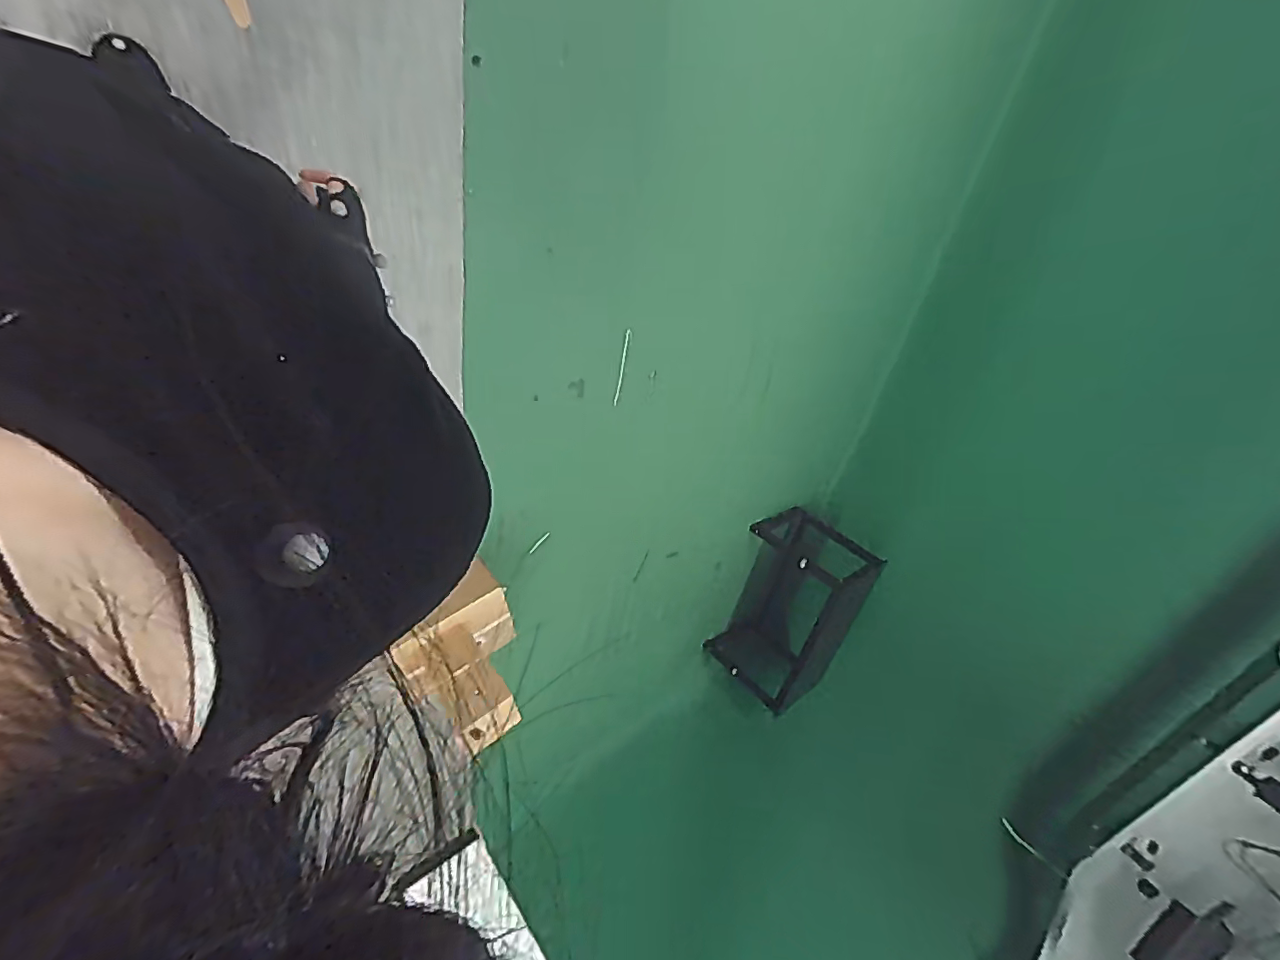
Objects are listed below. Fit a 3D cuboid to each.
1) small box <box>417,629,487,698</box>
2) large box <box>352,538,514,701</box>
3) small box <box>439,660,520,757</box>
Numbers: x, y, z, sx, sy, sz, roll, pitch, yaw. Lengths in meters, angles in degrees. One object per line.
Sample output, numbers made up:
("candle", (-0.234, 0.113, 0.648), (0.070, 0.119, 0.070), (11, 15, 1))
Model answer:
("small box", (-0.599, 0.612, 1.752), (0.168, 0.176, 0.179), (-29, 138, -29))
("large box", (-0.725, 0.483, 1.923), (0.408, 0.320, 0.320), (-31, 140, -30))
("small box", (-0.496, 0.695, 1.656), (0.179, 0.176, 0.168), (-30, 138, -28))
